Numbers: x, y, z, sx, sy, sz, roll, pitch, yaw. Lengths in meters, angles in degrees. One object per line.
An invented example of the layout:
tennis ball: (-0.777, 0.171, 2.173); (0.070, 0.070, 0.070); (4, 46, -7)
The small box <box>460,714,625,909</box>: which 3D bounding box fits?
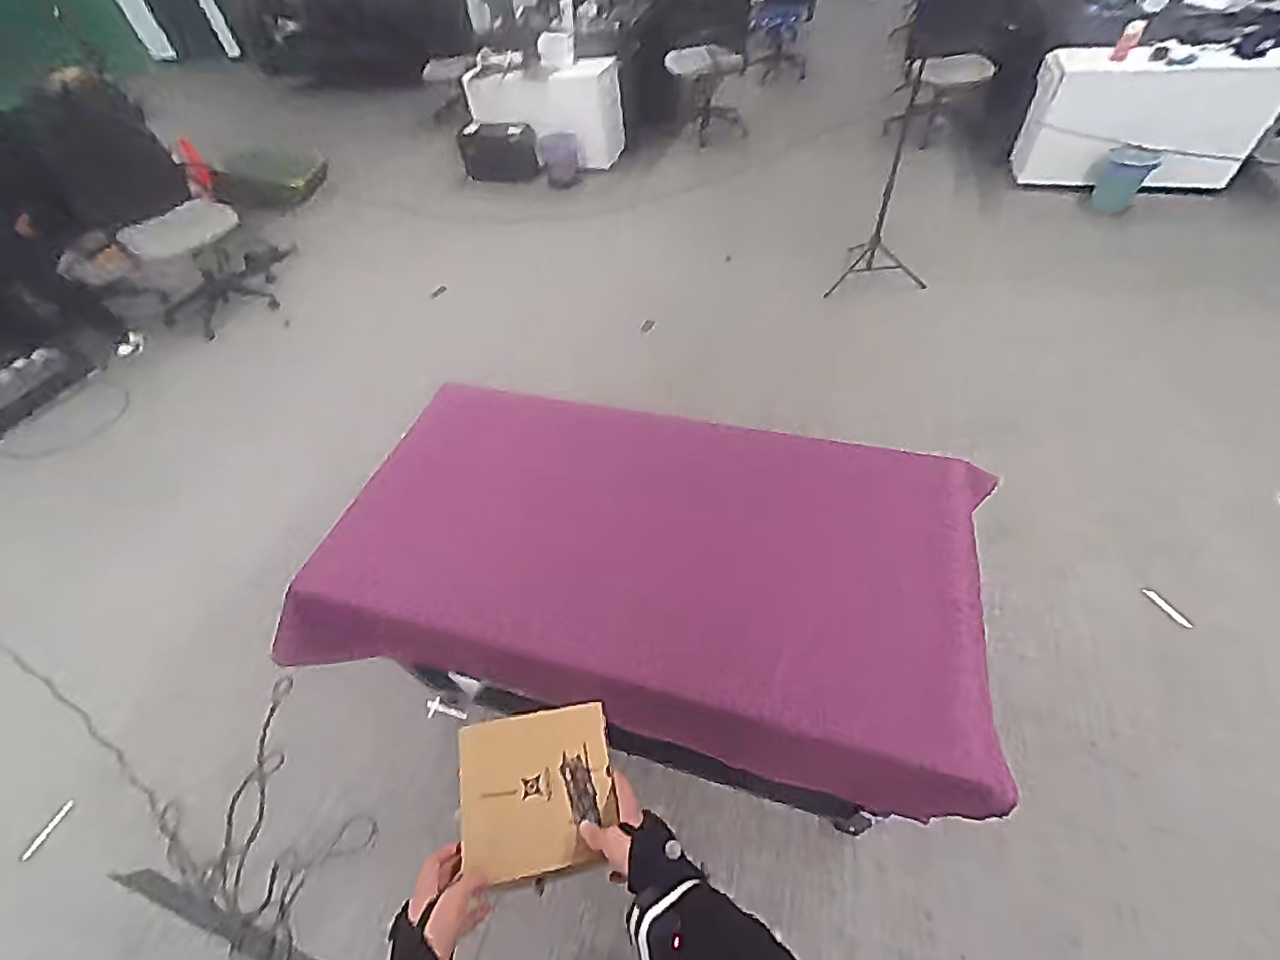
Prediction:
small box: (-0.128, 0.415, 0.679); (0.179, 0.176, 0.168); (-4, 50, -15)
